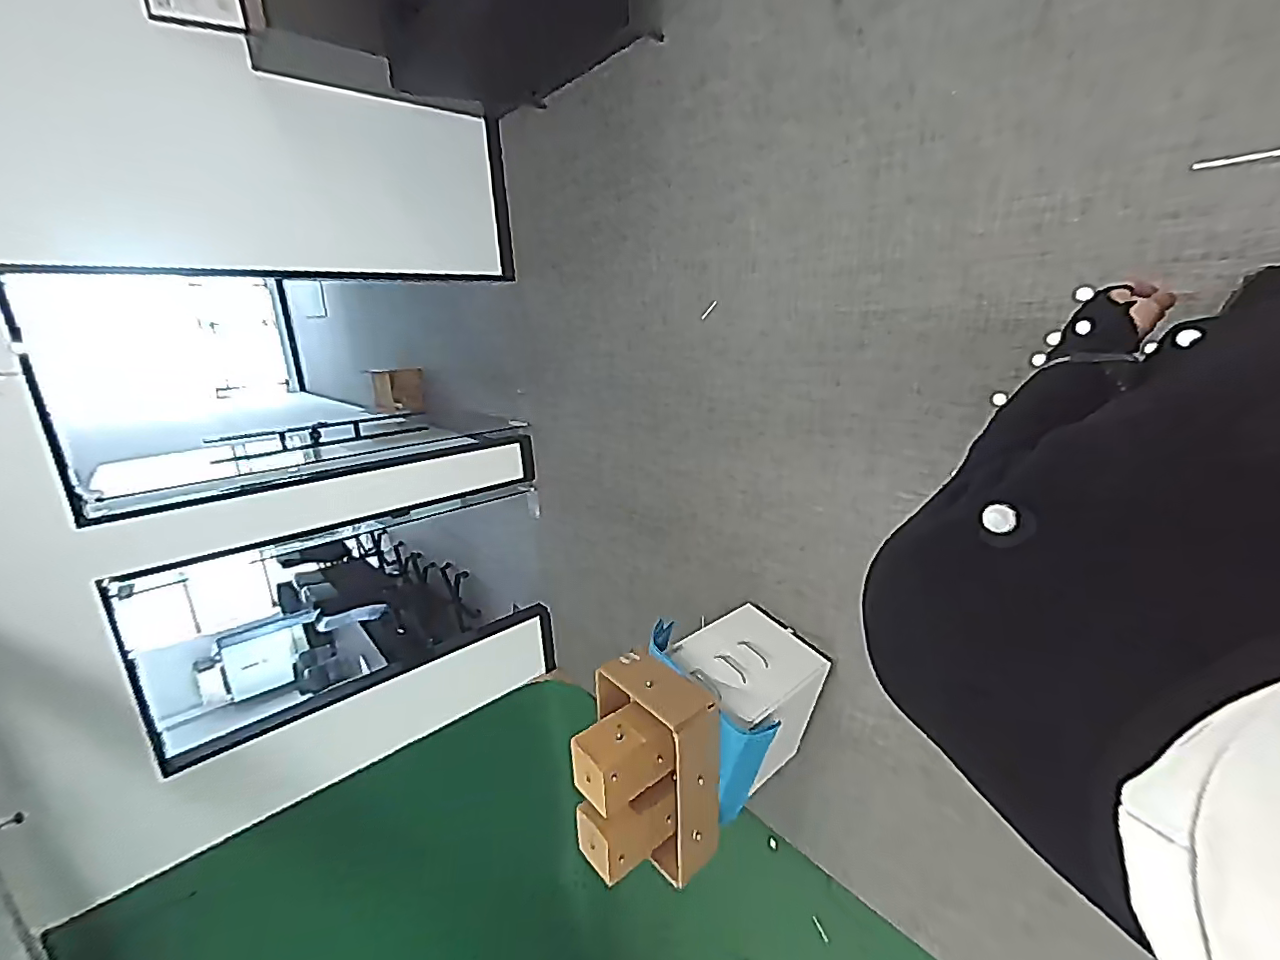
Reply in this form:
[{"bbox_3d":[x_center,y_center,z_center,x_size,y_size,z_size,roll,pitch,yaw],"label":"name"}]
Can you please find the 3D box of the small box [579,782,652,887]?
[{"bbox_3d":[-0.074,1.100,1.691,0.168,0.176,0.179,17,114,48],"label":"small box"}]
